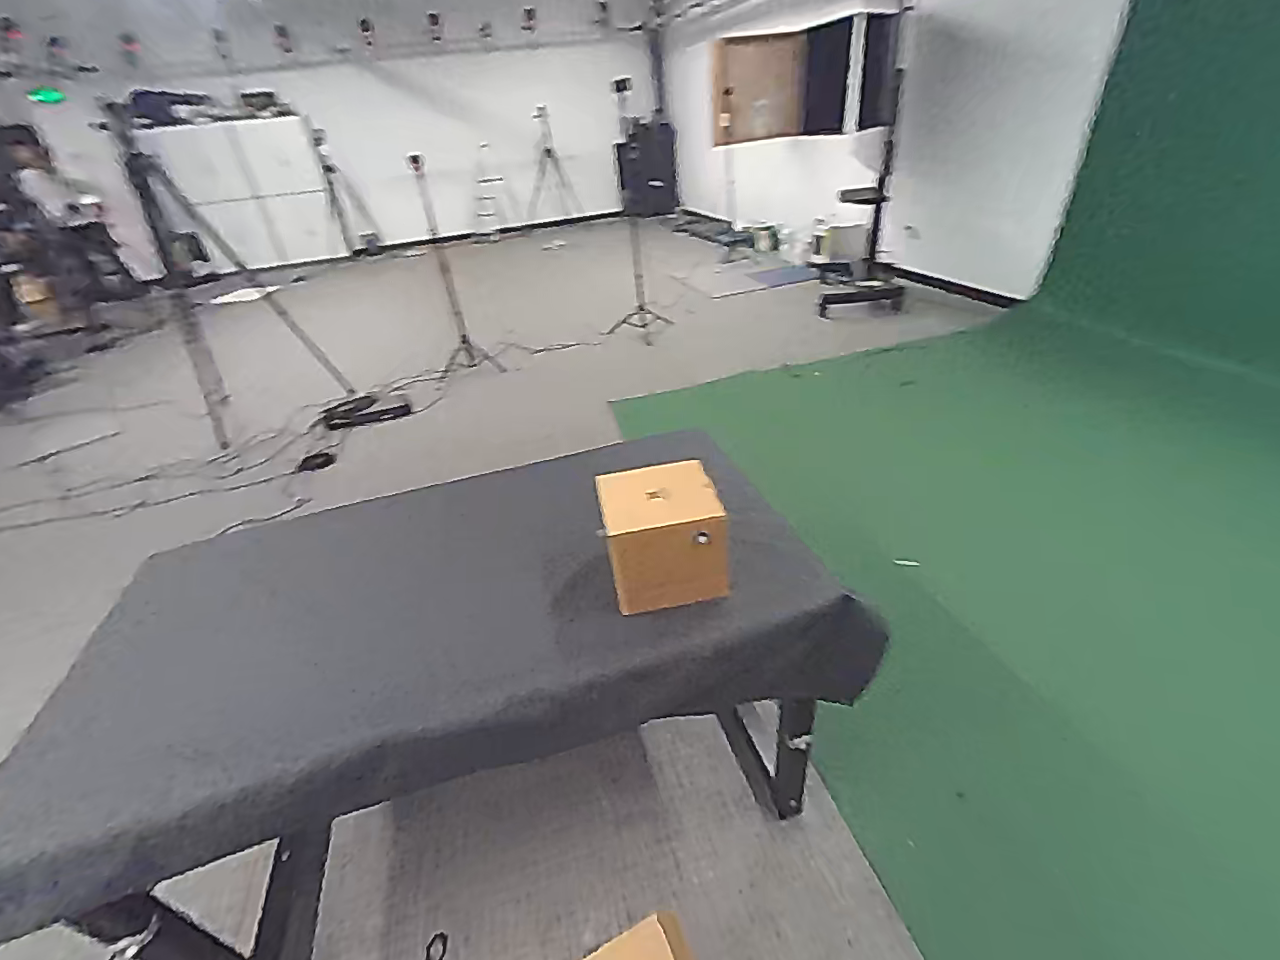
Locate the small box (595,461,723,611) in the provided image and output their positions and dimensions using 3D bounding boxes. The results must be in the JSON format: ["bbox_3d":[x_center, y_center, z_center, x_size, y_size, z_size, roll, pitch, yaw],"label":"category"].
[{"bbox_3d":[0.031,0.092,0.885,0.179,0.176,0.168,-10,33,-6],"label":"small box"}]

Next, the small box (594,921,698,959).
[{"bbox_3d":[-0.010,0.427,0.351,0.168,0.176,0.179,-24,52,-11],"label":"small box"}]
